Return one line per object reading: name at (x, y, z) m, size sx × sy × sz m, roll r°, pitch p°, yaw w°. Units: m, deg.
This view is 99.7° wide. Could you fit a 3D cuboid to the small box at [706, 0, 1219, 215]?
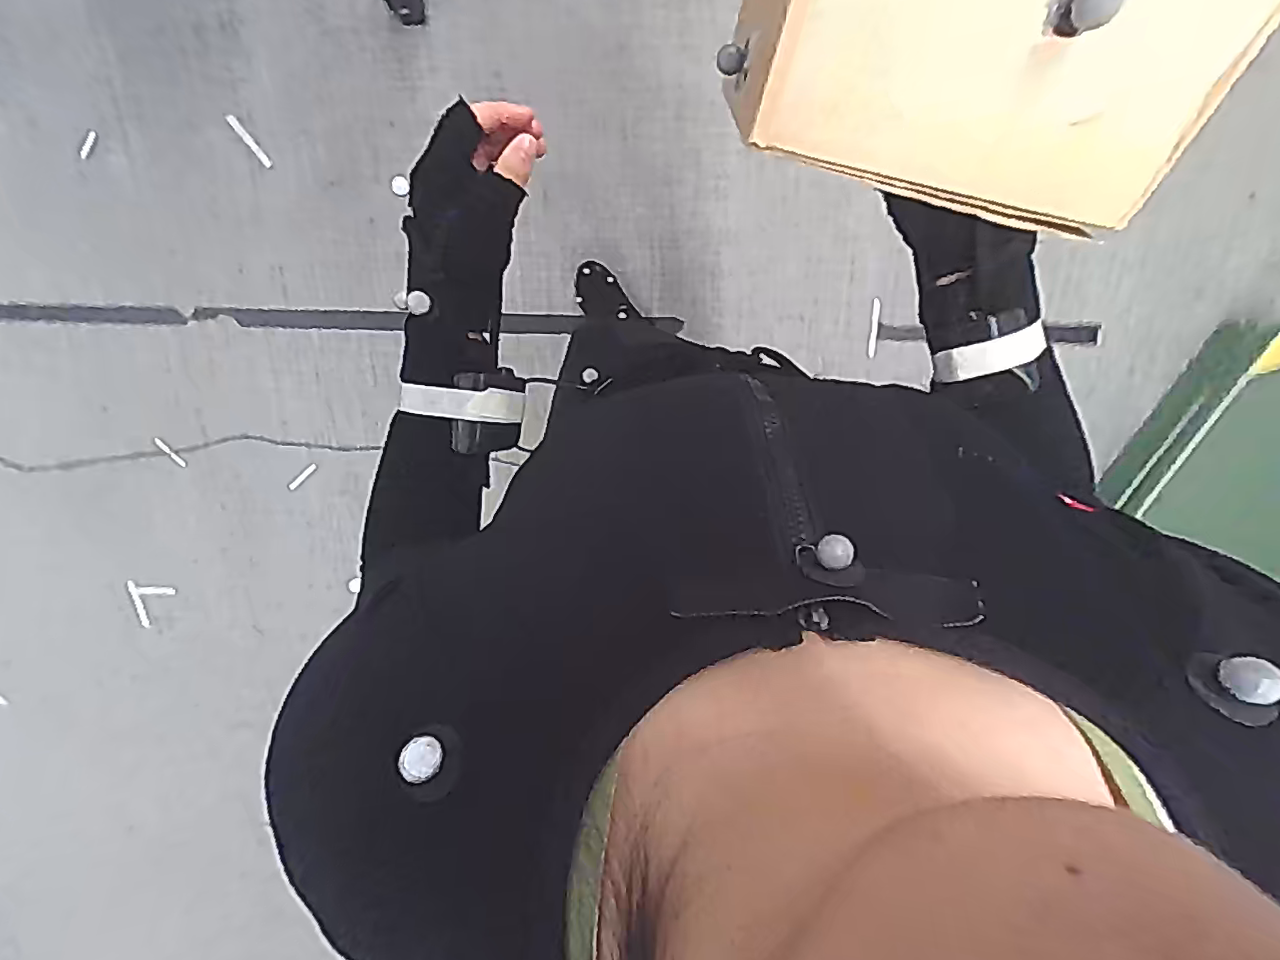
small box at (0.139, -0.246, 0.241) m, size 0.179 × 0.168 × 0.176 m, roll 8°, pitch 132°, yaw -6°
